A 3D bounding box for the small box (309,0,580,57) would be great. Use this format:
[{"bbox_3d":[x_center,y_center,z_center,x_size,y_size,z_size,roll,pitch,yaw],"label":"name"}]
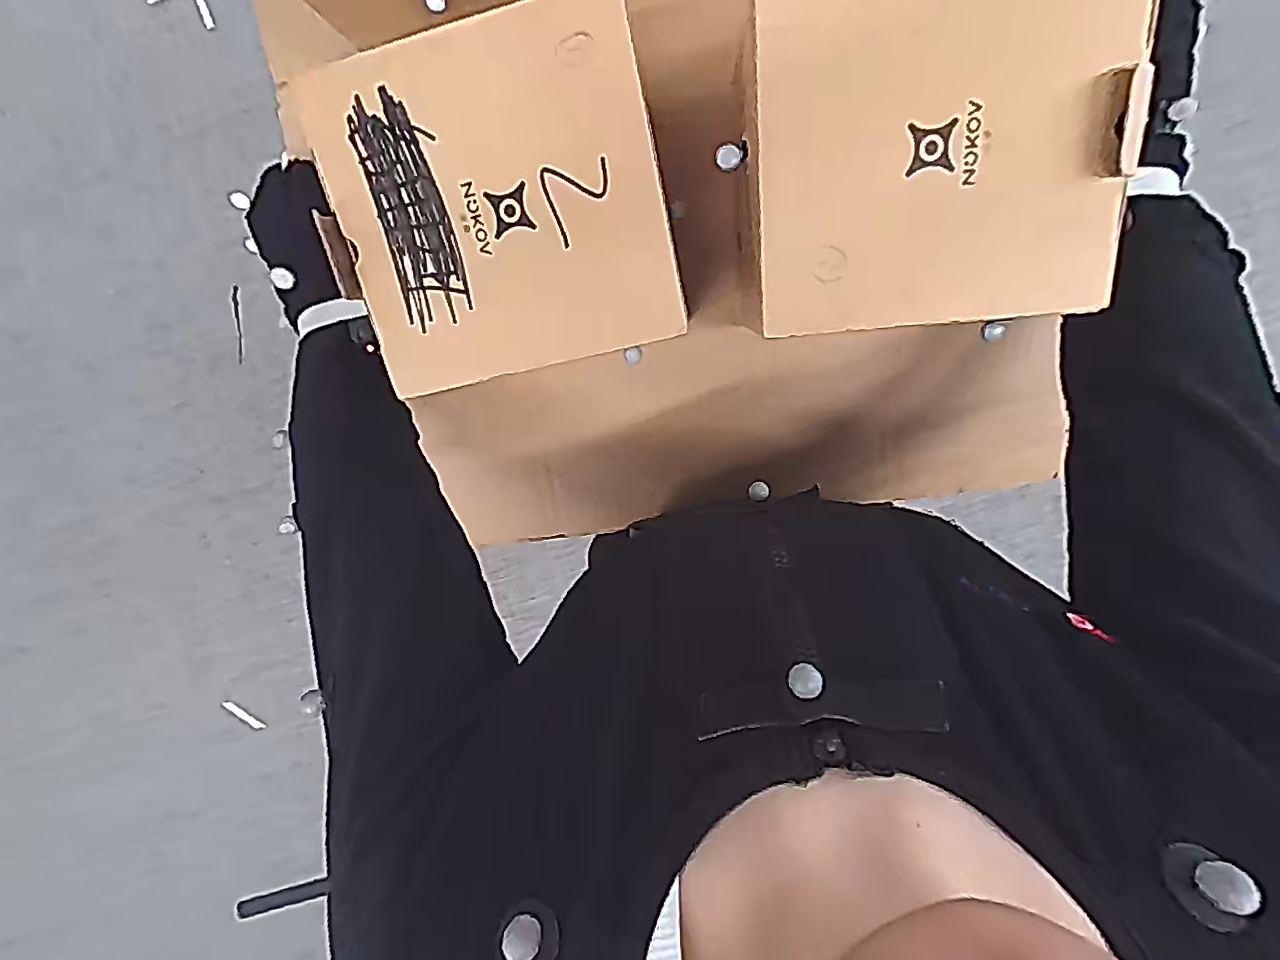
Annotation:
[{"bbox_3d":[-0.139,-0.385,0.309,0.168,0.176,0.179,-8,102,7],"label":"small box"}]
